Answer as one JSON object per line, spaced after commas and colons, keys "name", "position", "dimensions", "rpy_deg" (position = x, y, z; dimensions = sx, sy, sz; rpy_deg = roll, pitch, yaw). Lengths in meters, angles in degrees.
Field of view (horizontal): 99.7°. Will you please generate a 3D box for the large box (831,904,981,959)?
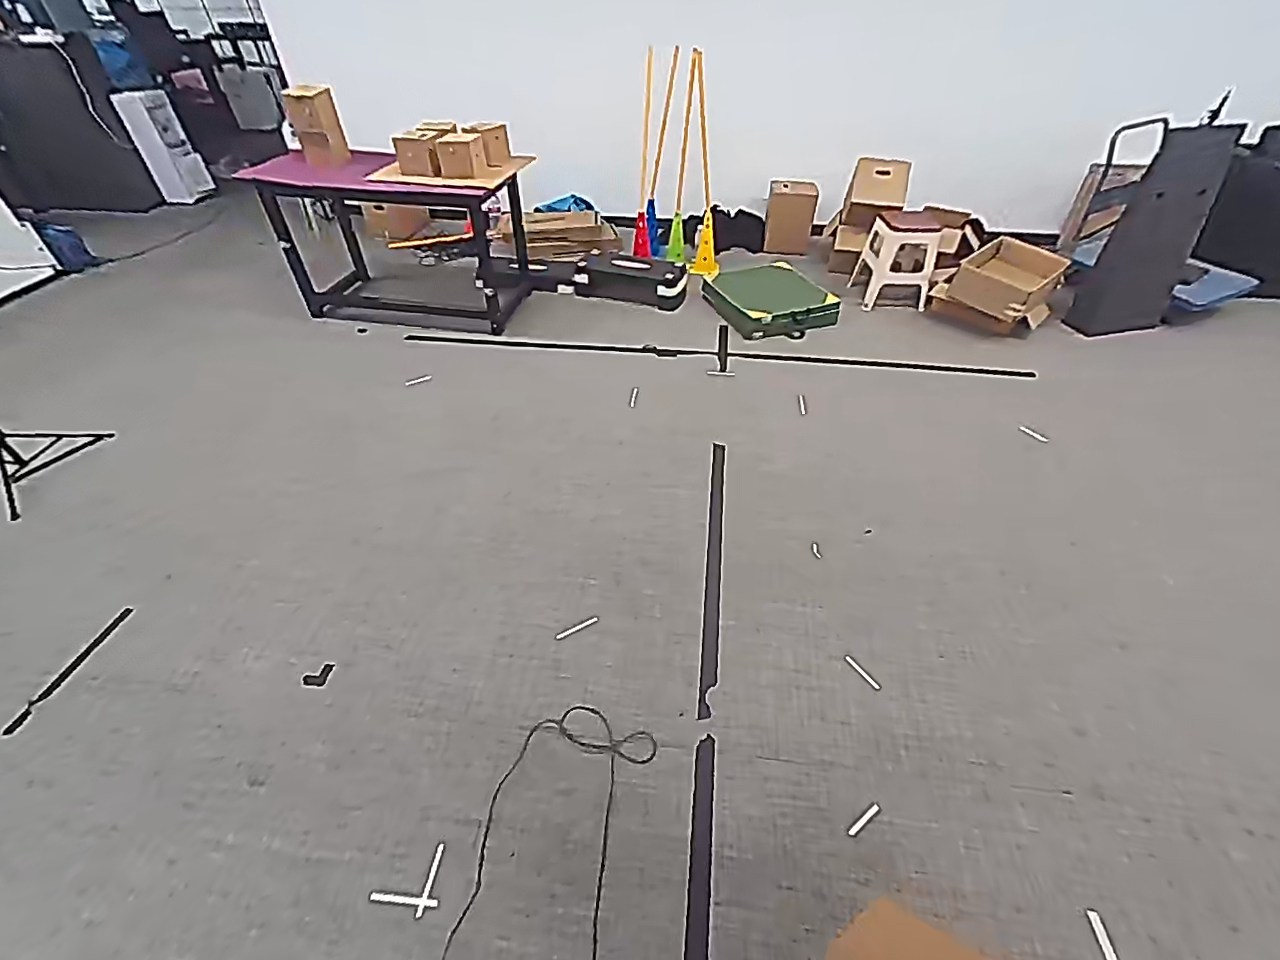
{"name": "large box", "position": [0.394, 0.805, 0.605], "dimensions": [0.320, 0.408, 0.320], "rpy_deg": [-30, 82, -22]}
